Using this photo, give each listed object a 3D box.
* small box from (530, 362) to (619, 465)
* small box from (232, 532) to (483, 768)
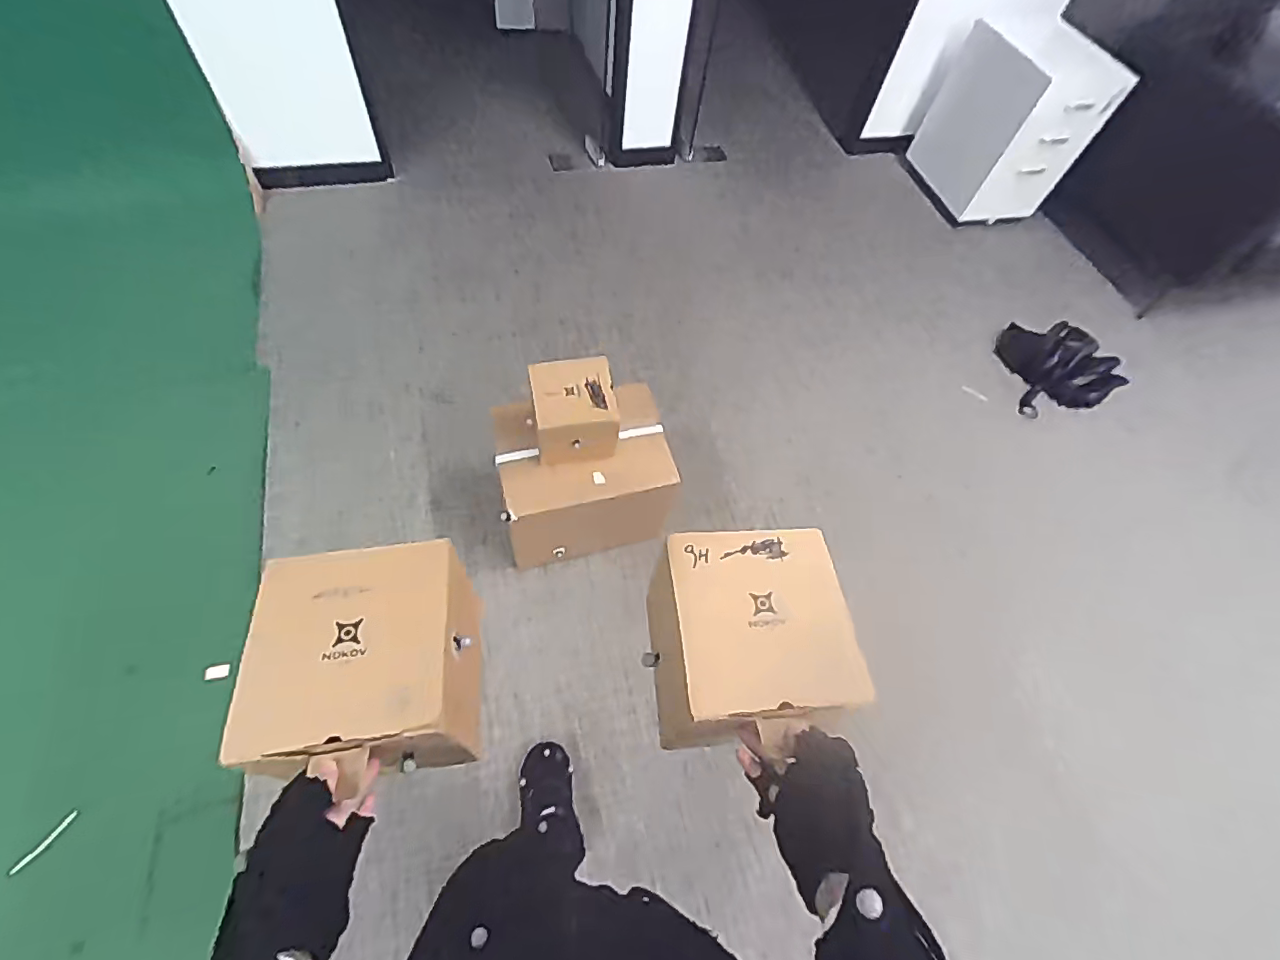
[{"bbox_3d":[-0.152,-0.147,1.218,0.179,0.176,0.168,-5,64,-11],"label":"small box"},{"bbox_3d":[-0.254,0.175,0.540,0.168,0.176,0.179,-6,55,-9],"label":"small box"}]
